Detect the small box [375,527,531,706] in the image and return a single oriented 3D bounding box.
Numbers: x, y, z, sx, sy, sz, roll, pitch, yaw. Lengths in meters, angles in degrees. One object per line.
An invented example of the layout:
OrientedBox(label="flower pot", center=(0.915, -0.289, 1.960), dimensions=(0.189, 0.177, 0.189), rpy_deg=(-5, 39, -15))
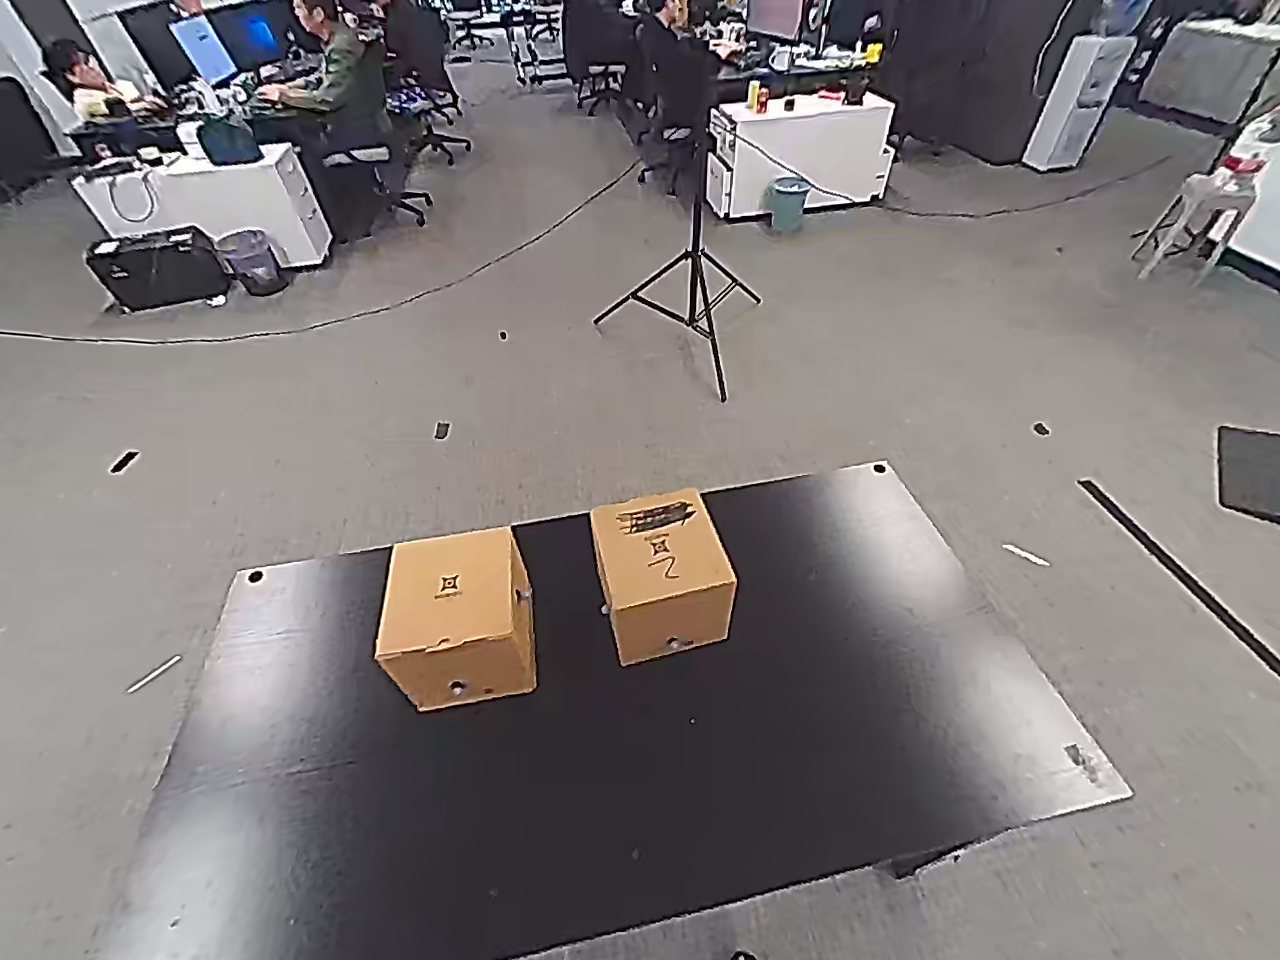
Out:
OrientedBox(label="small box", center=(-0.253, 0.195, 0.776), dimensions=(0.168, 0.176, 0.179), rpy_deg=(-9, 47, -5))
